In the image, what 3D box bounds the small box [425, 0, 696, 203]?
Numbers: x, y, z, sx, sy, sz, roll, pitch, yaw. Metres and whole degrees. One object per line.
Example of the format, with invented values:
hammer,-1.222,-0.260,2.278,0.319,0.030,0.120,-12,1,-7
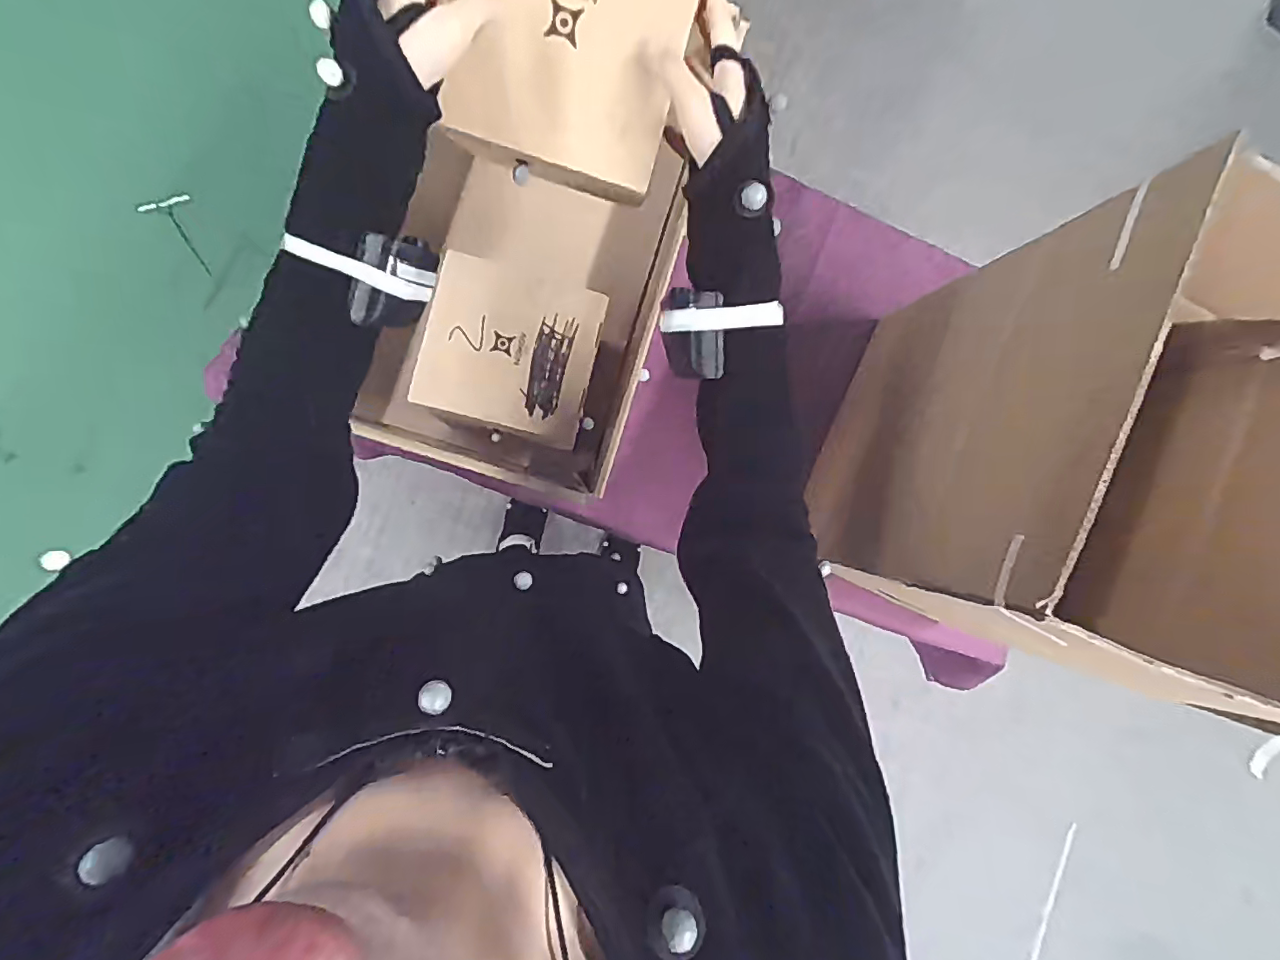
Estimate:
small box,-0.053,-0.344,0.438,0.168,0.176,0.179,15,110,-8
